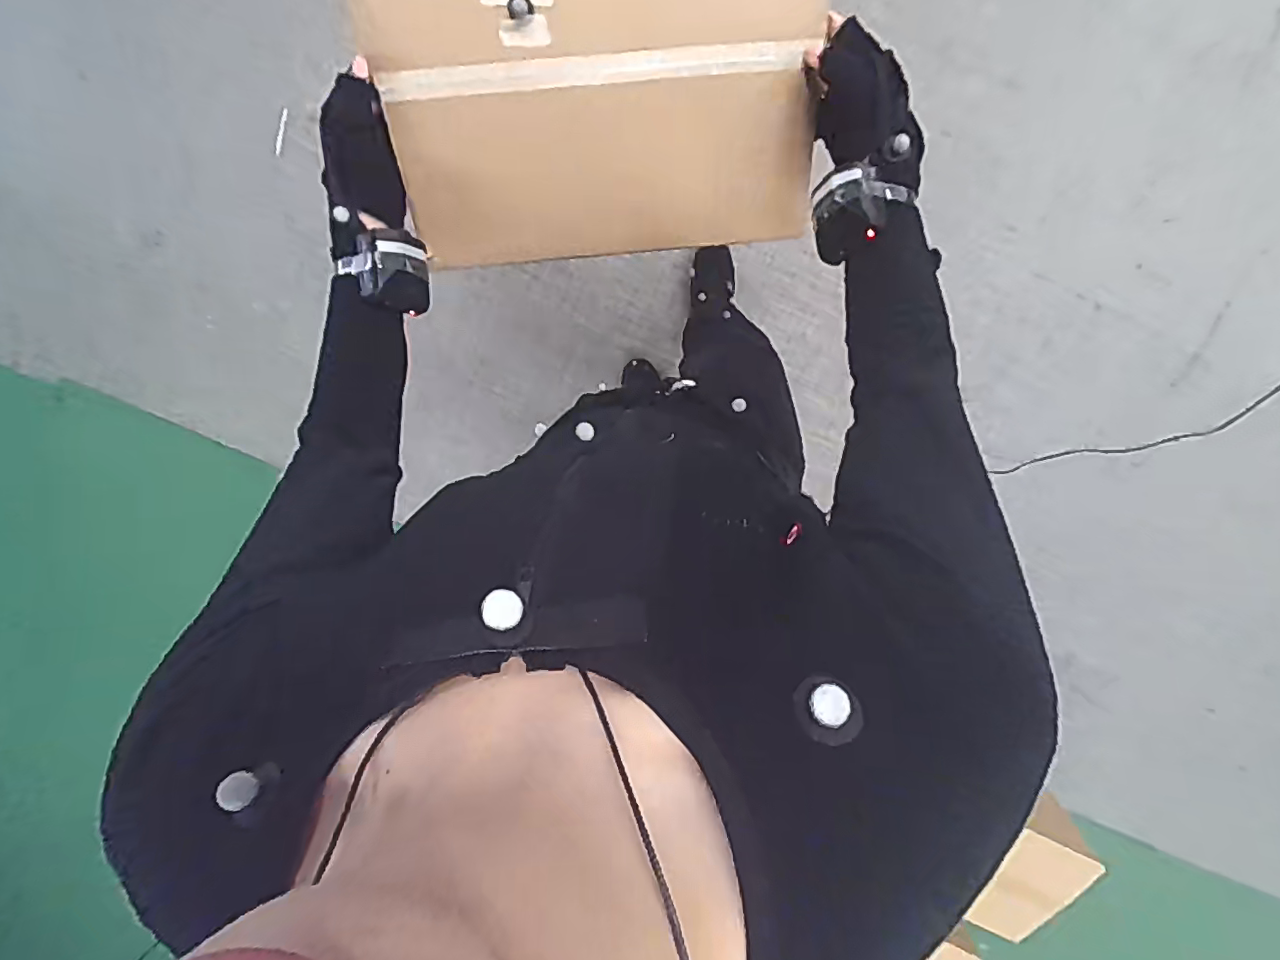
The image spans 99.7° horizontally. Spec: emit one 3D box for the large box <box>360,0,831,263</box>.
[{"bbox_3d":[-0.041,-0.455,0.599,0.408,0.320,0.320,-5,124,-2],"label":"large box"}]
